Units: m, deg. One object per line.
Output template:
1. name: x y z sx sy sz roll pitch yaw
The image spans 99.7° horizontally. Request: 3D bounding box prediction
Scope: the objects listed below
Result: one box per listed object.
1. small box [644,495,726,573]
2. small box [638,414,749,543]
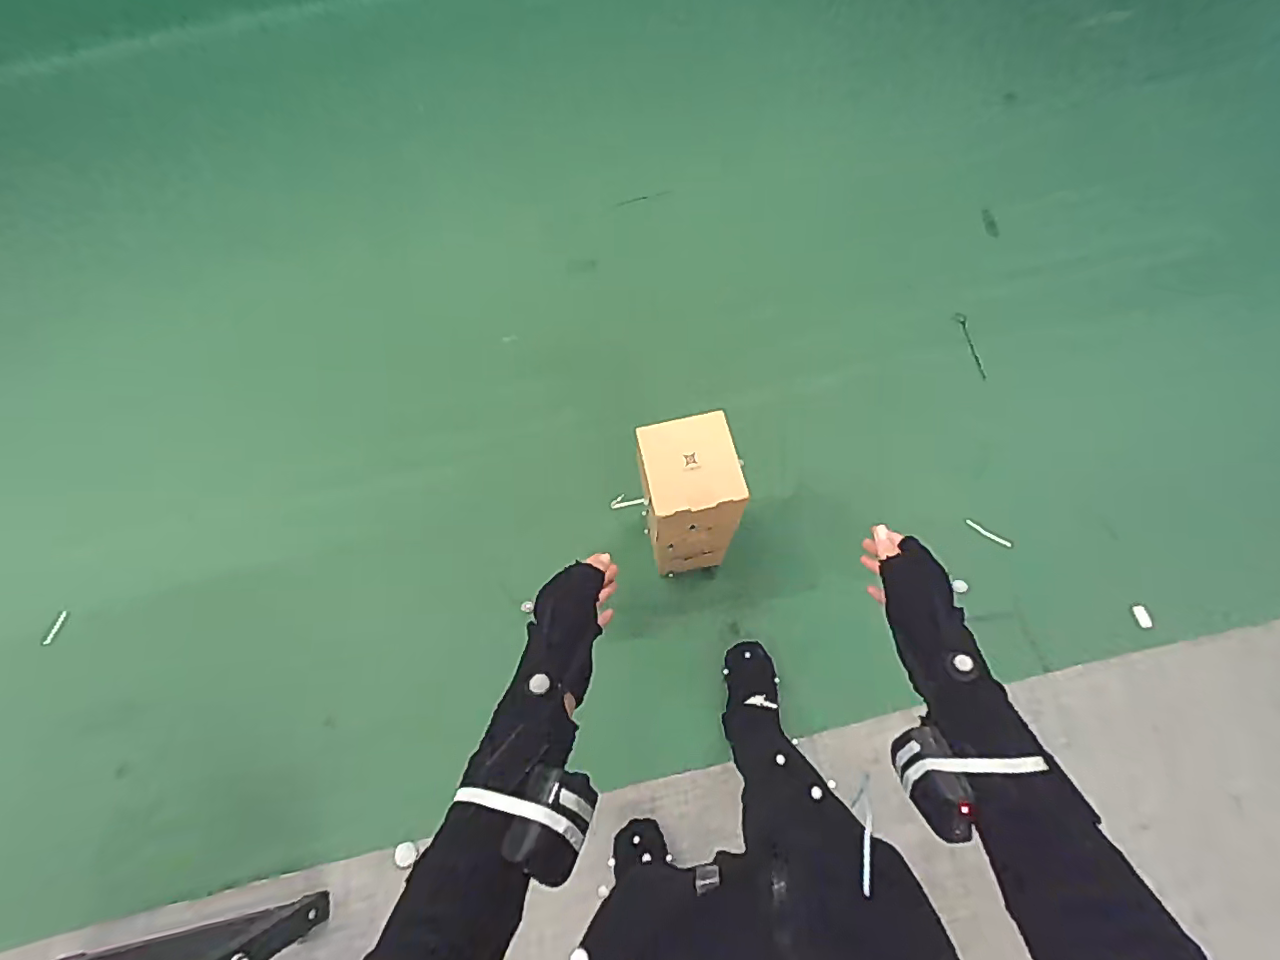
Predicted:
1. small box: 0.108 0.125 1.333 0.168 0.176 0.179 -10 68 -2
2. small box: 0.093 0.002 1.029 0.168 0.176 0.179 -12 69 -3
